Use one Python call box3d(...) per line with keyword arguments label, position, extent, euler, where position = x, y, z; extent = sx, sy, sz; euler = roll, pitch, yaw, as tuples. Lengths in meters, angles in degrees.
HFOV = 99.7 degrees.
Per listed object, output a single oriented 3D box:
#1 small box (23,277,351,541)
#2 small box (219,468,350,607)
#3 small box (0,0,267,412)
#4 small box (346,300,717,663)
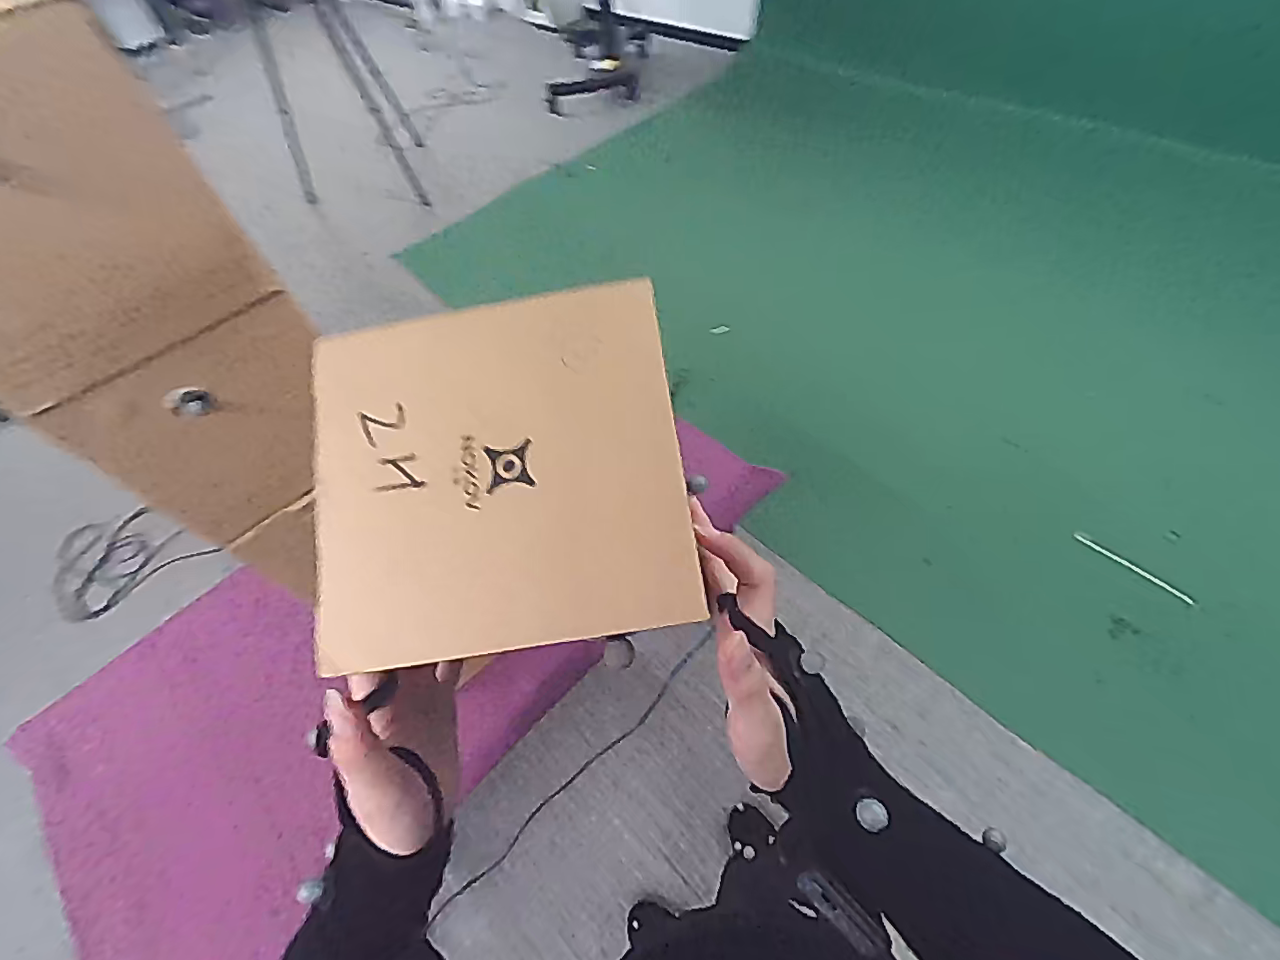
box3d(label="small box", position=(-0.367, -0.079, 0.474), extent=(0.179, 0.176, 0.168), euler=(-39, 58, -20))
box3d(label="small box", position=(-0.347, 0.019, 0.605), extent=(0.168, 0.176, 0.179), euler=(-38, 58, -19))
box3d(label="small box", position=(-0.383, -0.178, 0.347), extent=(0.179, 0.176, 0.168), euler=(-39, 58, -19))
box3d(label="small box", position=(-0.053, 0.016, 0.343), extent=(0.179, 0.176, 0.168), euler=(-9, 74, 4))
